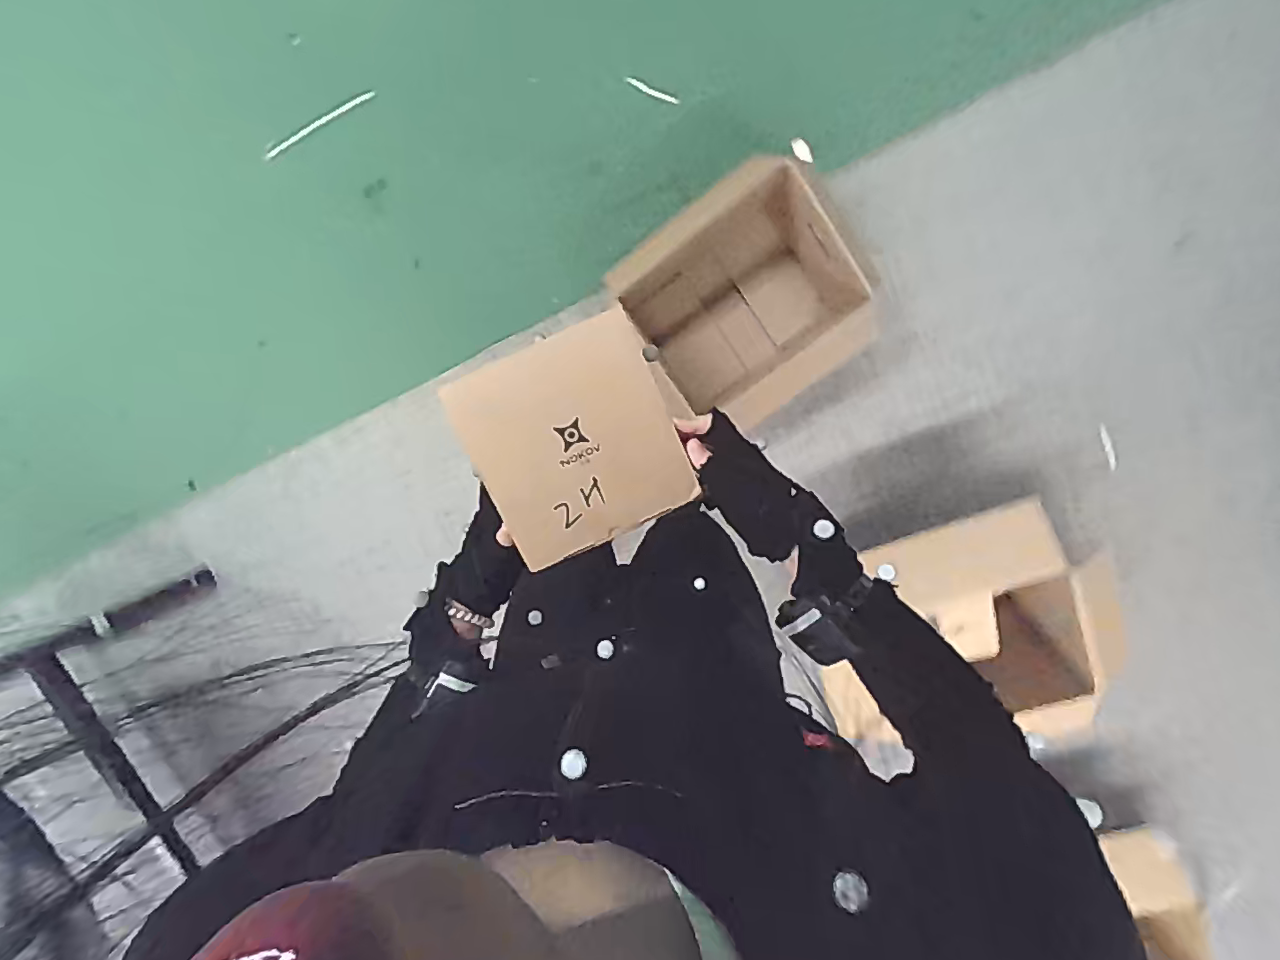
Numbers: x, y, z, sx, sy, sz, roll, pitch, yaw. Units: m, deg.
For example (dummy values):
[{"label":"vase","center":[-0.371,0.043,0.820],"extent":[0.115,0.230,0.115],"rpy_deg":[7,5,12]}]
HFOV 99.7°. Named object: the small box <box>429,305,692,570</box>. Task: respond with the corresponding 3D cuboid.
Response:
[{"label":"small box","center":[-0.070,-0.045,0.524],"extent":[0.168,0.176,0.179],"rpy_deg":[-25,102,1]}]
